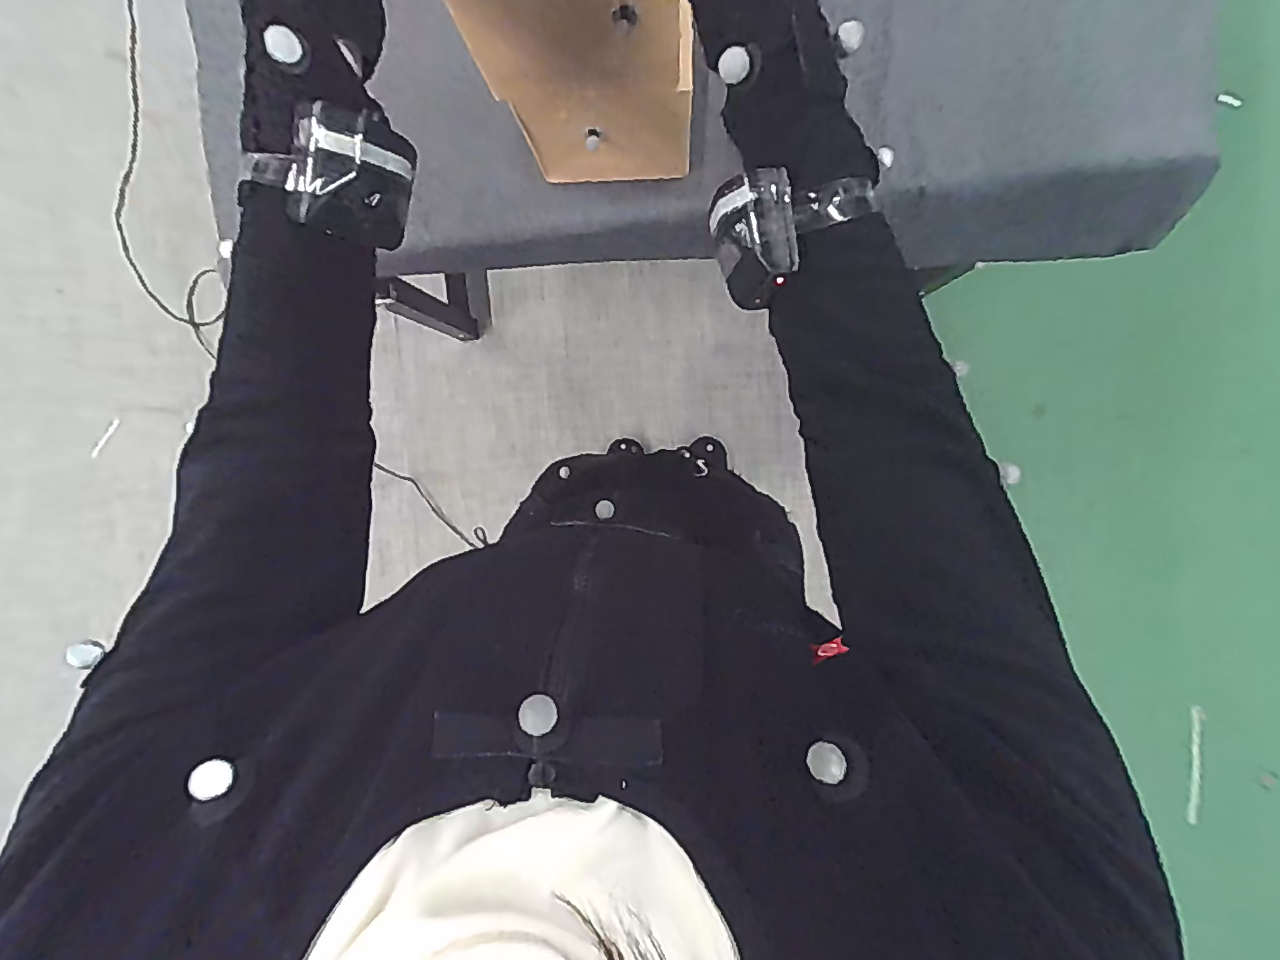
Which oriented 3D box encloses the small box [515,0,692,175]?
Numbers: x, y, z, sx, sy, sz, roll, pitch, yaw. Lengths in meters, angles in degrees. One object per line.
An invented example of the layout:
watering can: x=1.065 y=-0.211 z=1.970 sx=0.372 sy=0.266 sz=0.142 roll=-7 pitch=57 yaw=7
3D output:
small box: x=-0.033 y=-0.453 z=0.584 sx=0.179 sy=0.176 sz=0.168 roll=0 pitch=94 yaw=4

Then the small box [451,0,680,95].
small box: x=-0.056 y=-0.442 z=0.424 sx=0.179 sy=0.176 sz=0.168 roll=-2 pitch=93 yaw=4
